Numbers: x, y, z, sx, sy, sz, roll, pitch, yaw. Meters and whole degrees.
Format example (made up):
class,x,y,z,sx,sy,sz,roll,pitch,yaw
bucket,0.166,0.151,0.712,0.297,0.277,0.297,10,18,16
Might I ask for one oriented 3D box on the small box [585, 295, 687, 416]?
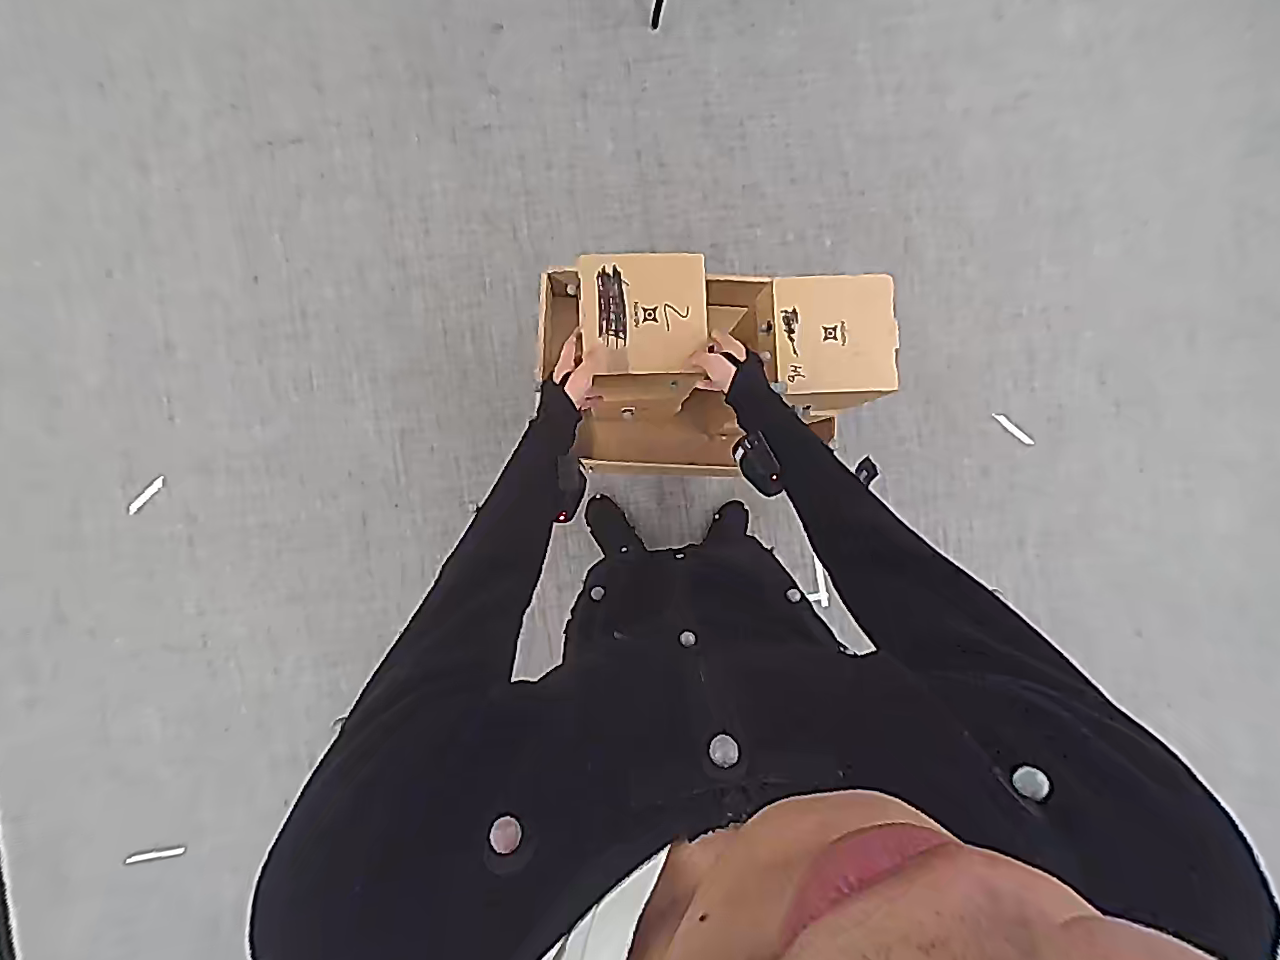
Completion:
class,x,y,z,sx,sy,sz,roll,pitch,yaw
small box,-0.012,-0.217,0.975,0.168,0.176,0.179,-4,90,-3

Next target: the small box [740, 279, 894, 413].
class,x,y,z,sx,sy,sz,roll,pitch,yaw
small box,0.264,-0.197,0.834,0.179,0.176,0.168,-2,89,-5

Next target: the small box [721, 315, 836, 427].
class,x,y,z,sx,sy,sz,roll,pitch,yaw
small box,0.249,-0.192,0.997,0.168,0.176,0.179,0,88,-4
